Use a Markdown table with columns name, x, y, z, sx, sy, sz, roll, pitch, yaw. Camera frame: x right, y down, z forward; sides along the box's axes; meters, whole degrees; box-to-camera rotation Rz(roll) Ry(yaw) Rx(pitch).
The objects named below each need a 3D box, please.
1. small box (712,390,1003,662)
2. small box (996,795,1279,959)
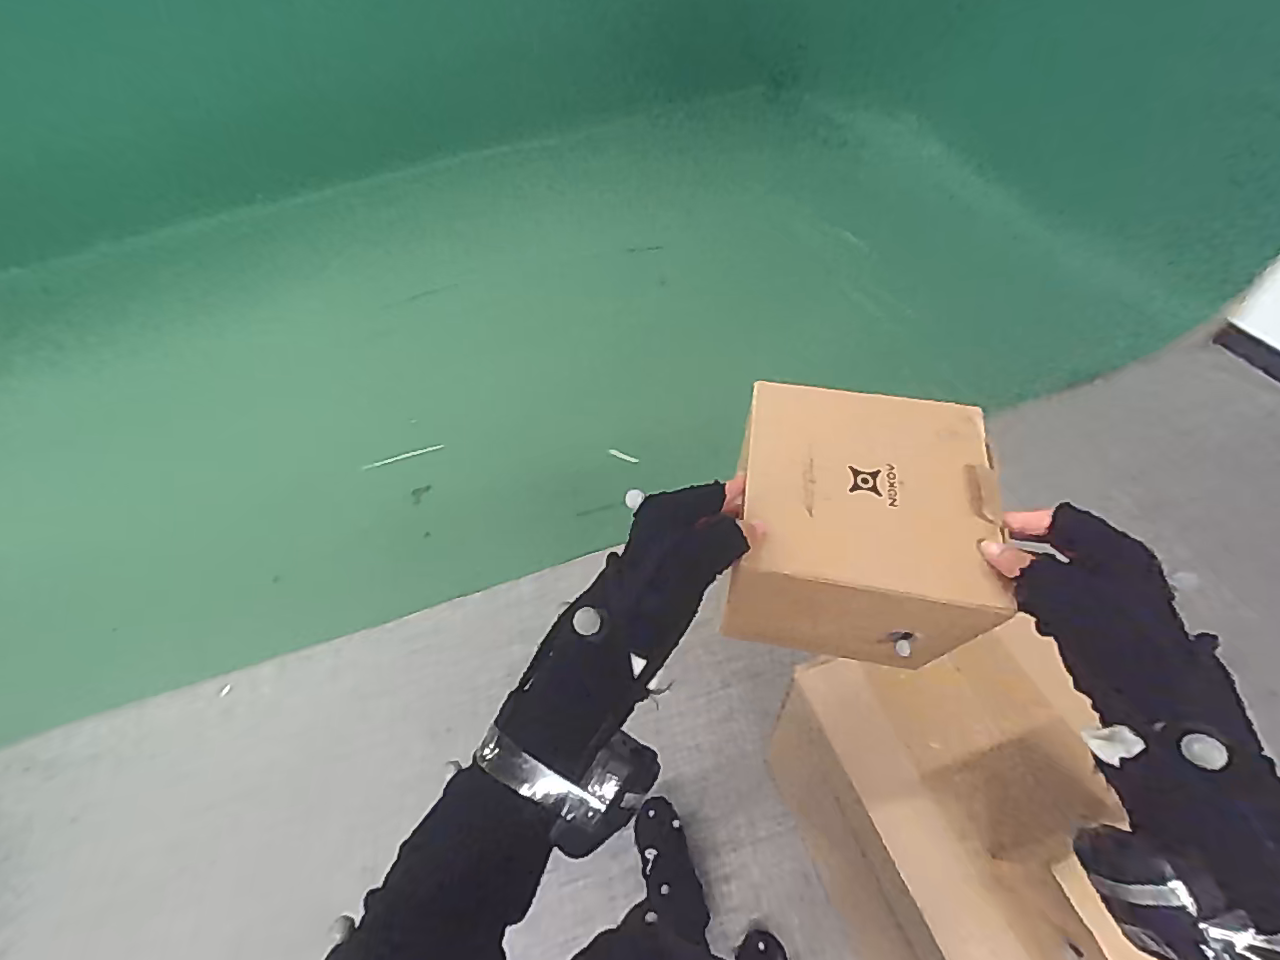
| name | x | y | z | sx | sy | sz | roll | pitch | yaw |
| --- | --- | --- | --- | --- | --- | --- | --- | --- | --- |
| small box | 0.161 | 0.047 | 0.462 | 0.179 | 0.176 | 0.168 | 6 | 58 | 6 |
| small box | 0.492 | 0.437 | 0.522 | 0.168 | 0.176 | 0.179 | -20 | 52 | -1 |
